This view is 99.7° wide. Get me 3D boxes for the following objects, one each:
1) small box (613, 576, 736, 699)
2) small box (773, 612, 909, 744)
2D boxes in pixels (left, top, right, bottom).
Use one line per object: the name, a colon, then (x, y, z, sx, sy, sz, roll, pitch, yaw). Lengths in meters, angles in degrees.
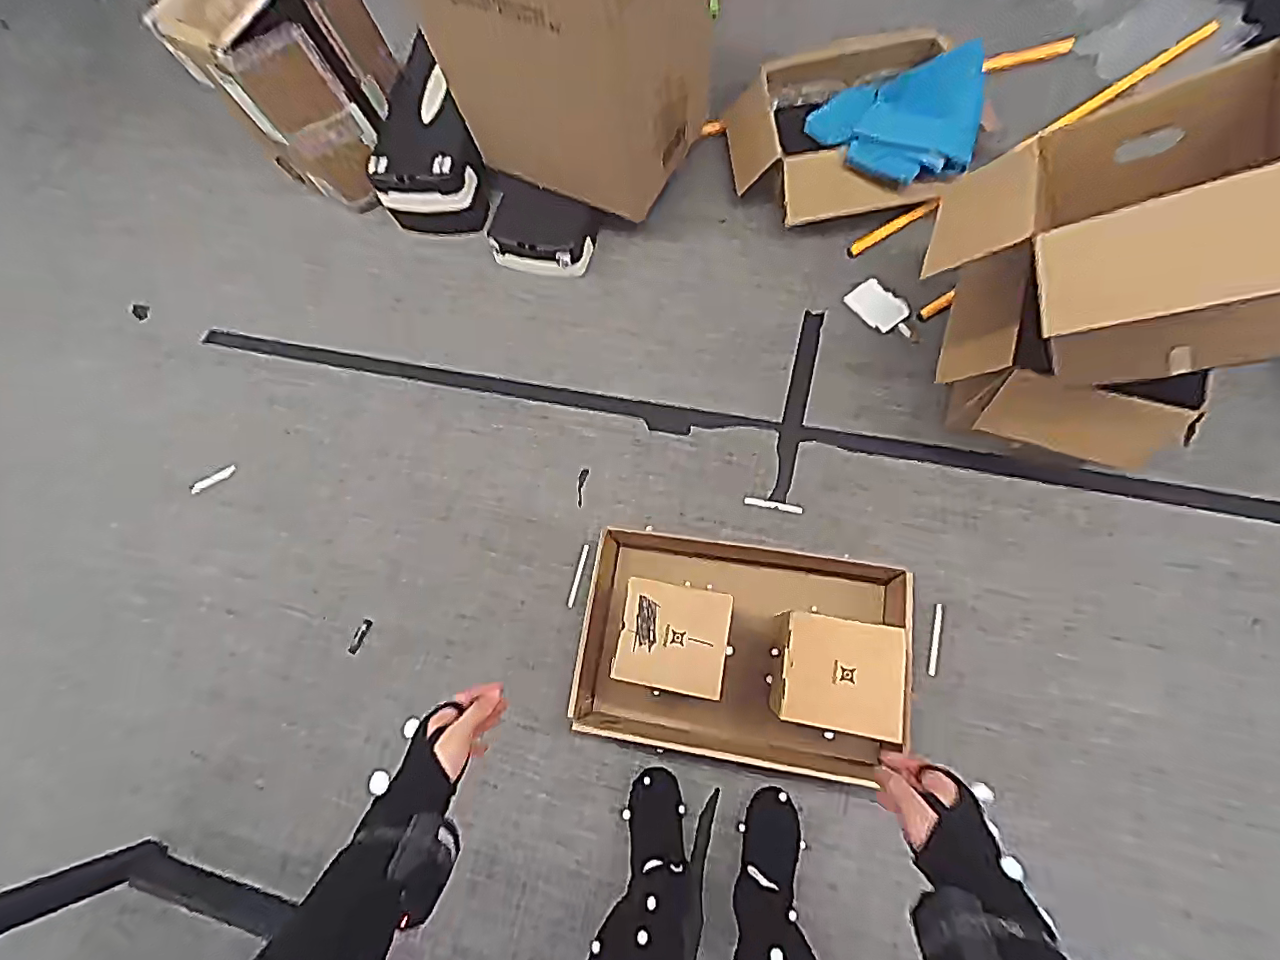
small box: (0.064, 0.272, 0.942, 0.179, 0.176, 0.168, 9, 75, 8)
small box: (0.323, 0.317, 0.895, 0.179, 0.176, 0.168, 7, 75, 11)
